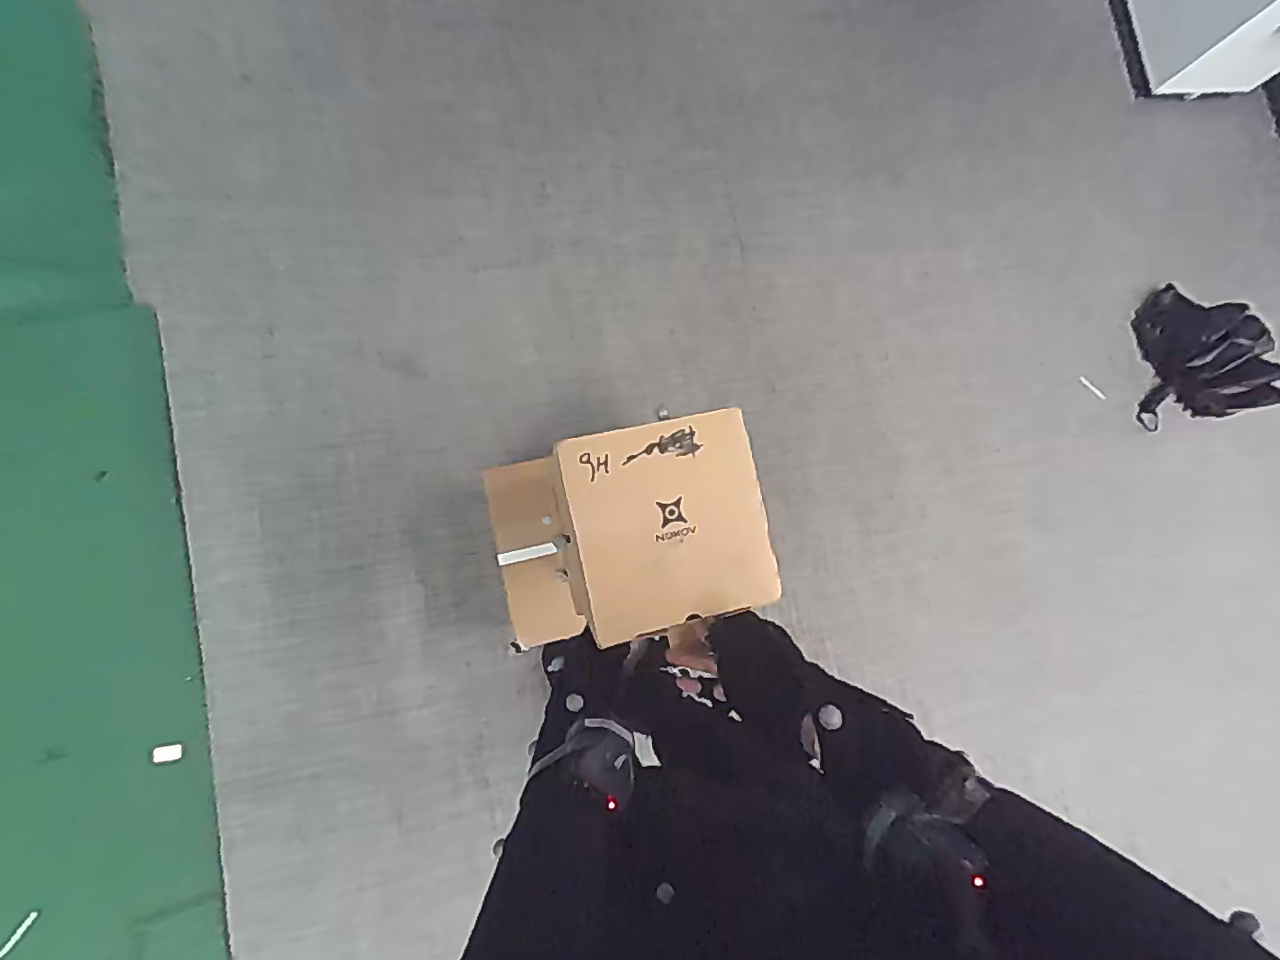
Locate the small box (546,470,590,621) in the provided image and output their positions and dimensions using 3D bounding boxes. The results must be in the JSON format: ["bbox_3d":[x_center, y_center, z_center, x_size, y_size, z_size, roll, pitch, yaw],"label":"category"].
[{"bbox_3d":[-0.022,0.063,0.700,0.168,0.176,0.179,-13,89,-12],"label":"small box"}]

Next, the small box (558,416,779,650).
[{"bbox_3d":[0.015,0.046,0.541,0.168,0.176,0.179,-12,89,-11],"label":"small box"}]
